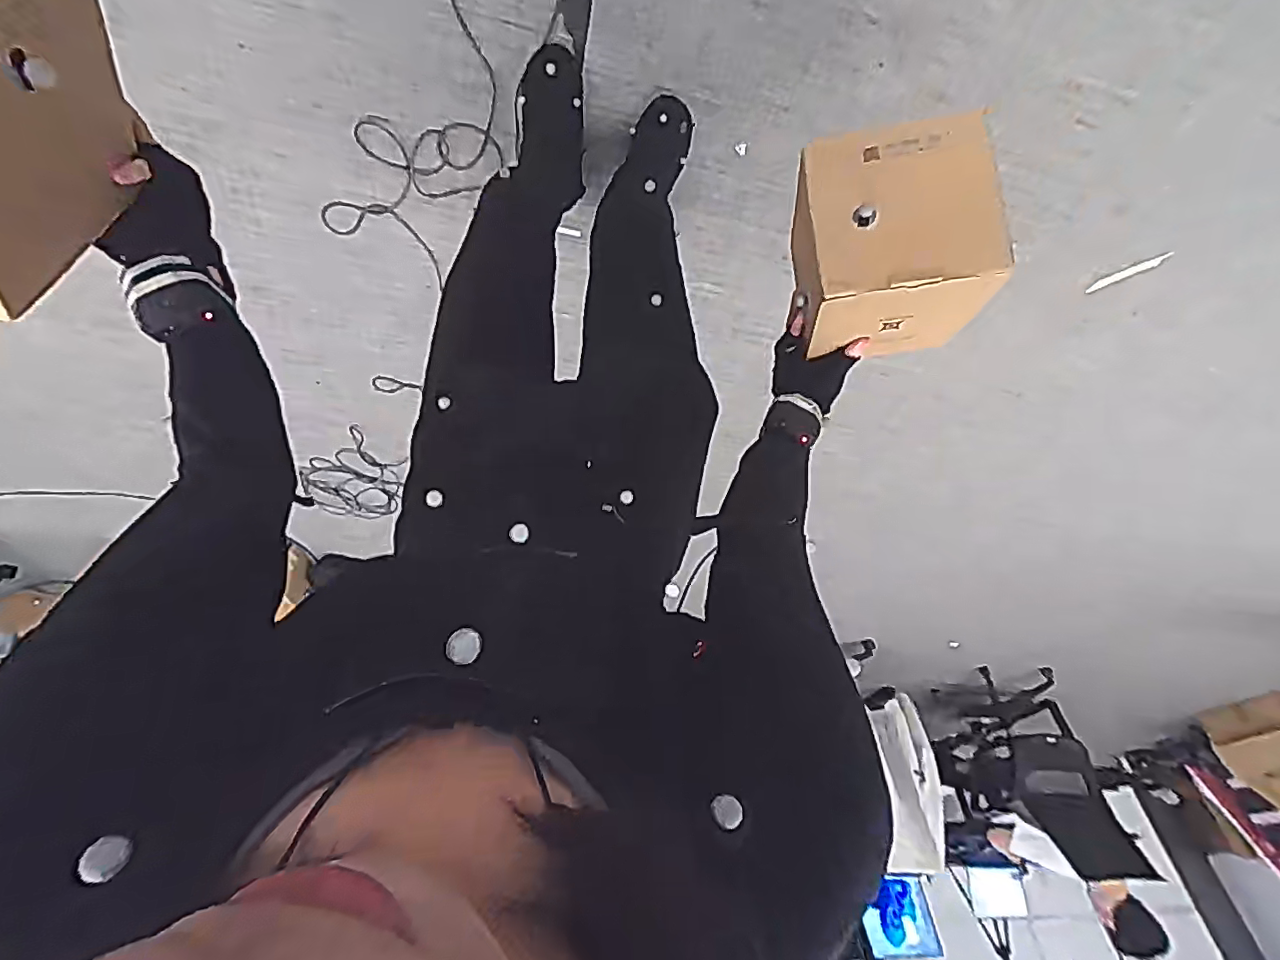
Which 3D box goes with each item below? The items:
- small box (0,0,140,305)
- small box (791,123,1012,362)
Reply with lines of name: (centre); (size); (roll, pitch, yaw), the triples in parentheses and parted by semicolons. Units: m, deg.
small box: (-0.437, -0.240, 0.300); (0.168, 0.179, 0.176); (16, 142, -23)
small box: (0.260, -0.248, 0.584); (0.168, 0.176, 0.179); (-5, 171, 11)
